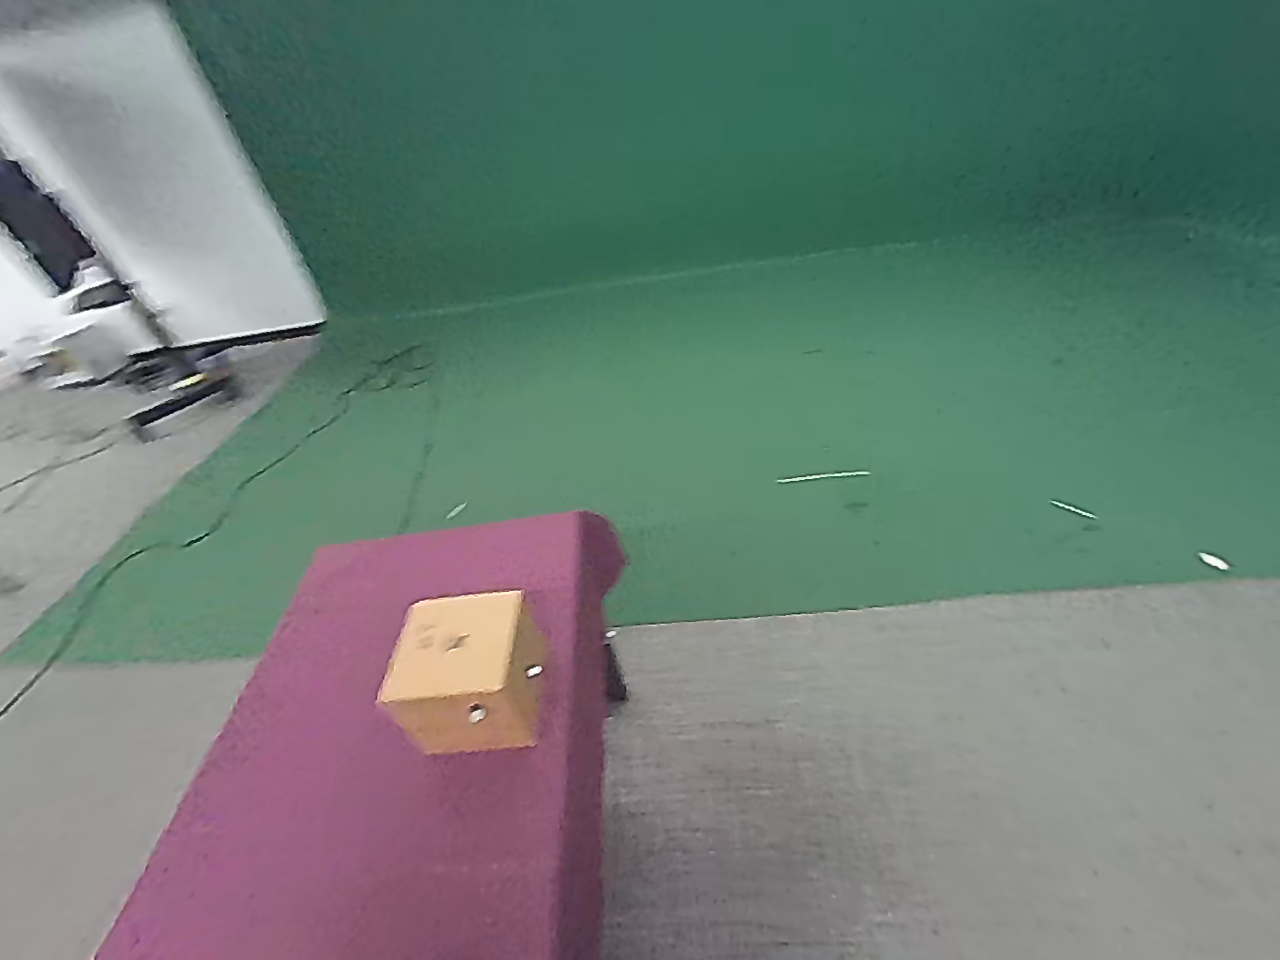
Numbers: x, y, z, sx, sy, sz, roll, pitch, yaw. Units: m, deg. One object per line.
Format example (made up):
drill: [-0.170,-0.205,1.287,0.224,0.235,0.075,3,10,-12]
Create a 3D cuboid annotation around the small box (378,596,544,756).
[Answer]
small box: [-0.258,0.302,0.832,0.179,0.176,0.168,-8,39,5]
